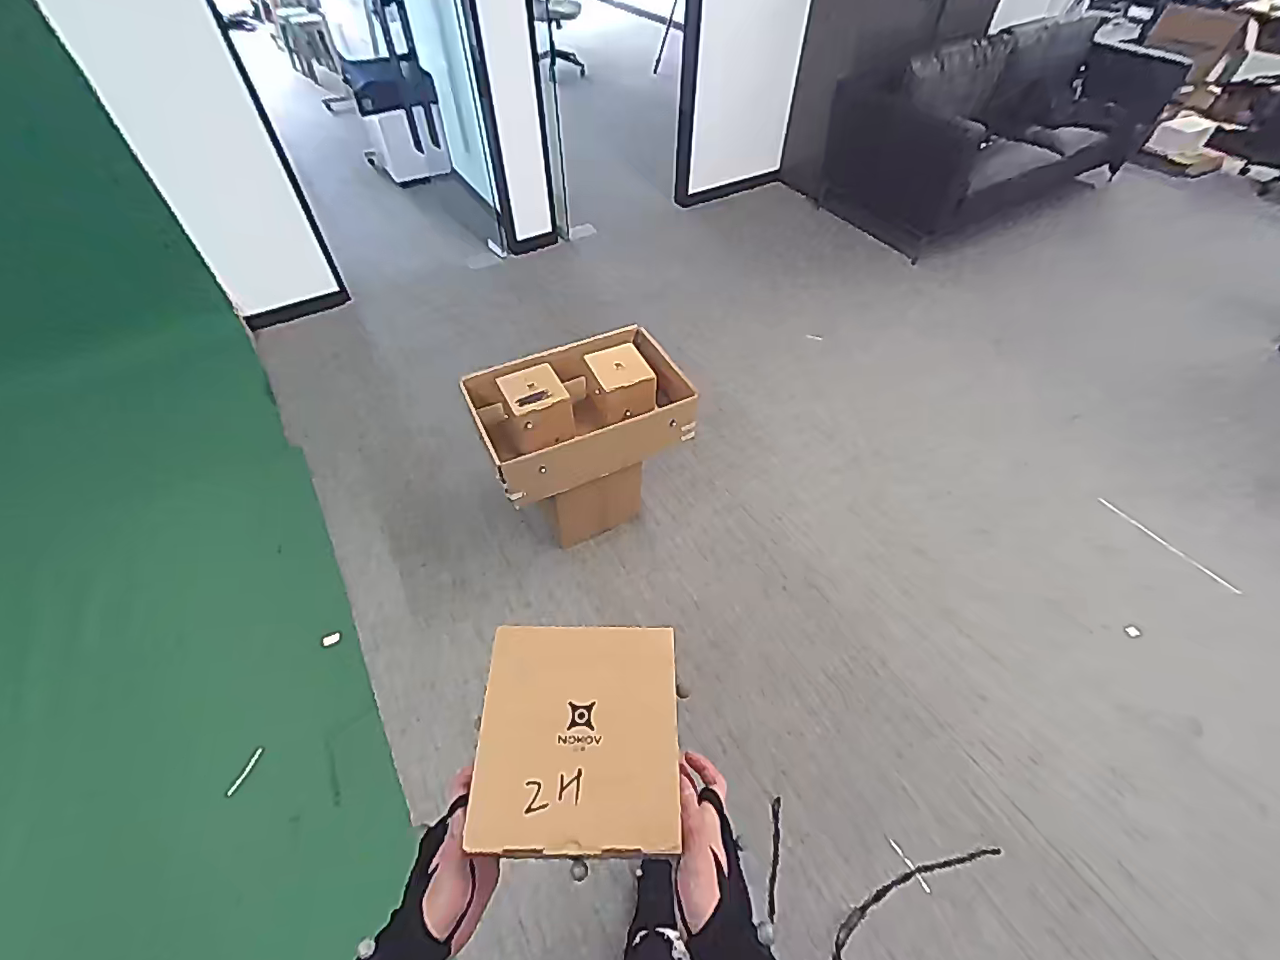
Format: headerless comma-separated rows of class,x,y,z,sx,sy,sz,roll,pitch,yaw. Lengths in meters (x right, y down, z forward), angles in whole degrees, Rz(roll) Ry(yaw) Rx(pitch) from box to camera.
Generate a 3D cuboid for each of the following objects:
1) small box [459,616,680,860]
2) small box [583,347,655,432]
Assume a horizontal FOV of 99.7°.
small box,-0.053,0.245,0.508,0.168,0.176,0.179,1,53,-1
small box,-0.066,-0.277,1.665,0.168,0.176,0.179,-20,54,-17
